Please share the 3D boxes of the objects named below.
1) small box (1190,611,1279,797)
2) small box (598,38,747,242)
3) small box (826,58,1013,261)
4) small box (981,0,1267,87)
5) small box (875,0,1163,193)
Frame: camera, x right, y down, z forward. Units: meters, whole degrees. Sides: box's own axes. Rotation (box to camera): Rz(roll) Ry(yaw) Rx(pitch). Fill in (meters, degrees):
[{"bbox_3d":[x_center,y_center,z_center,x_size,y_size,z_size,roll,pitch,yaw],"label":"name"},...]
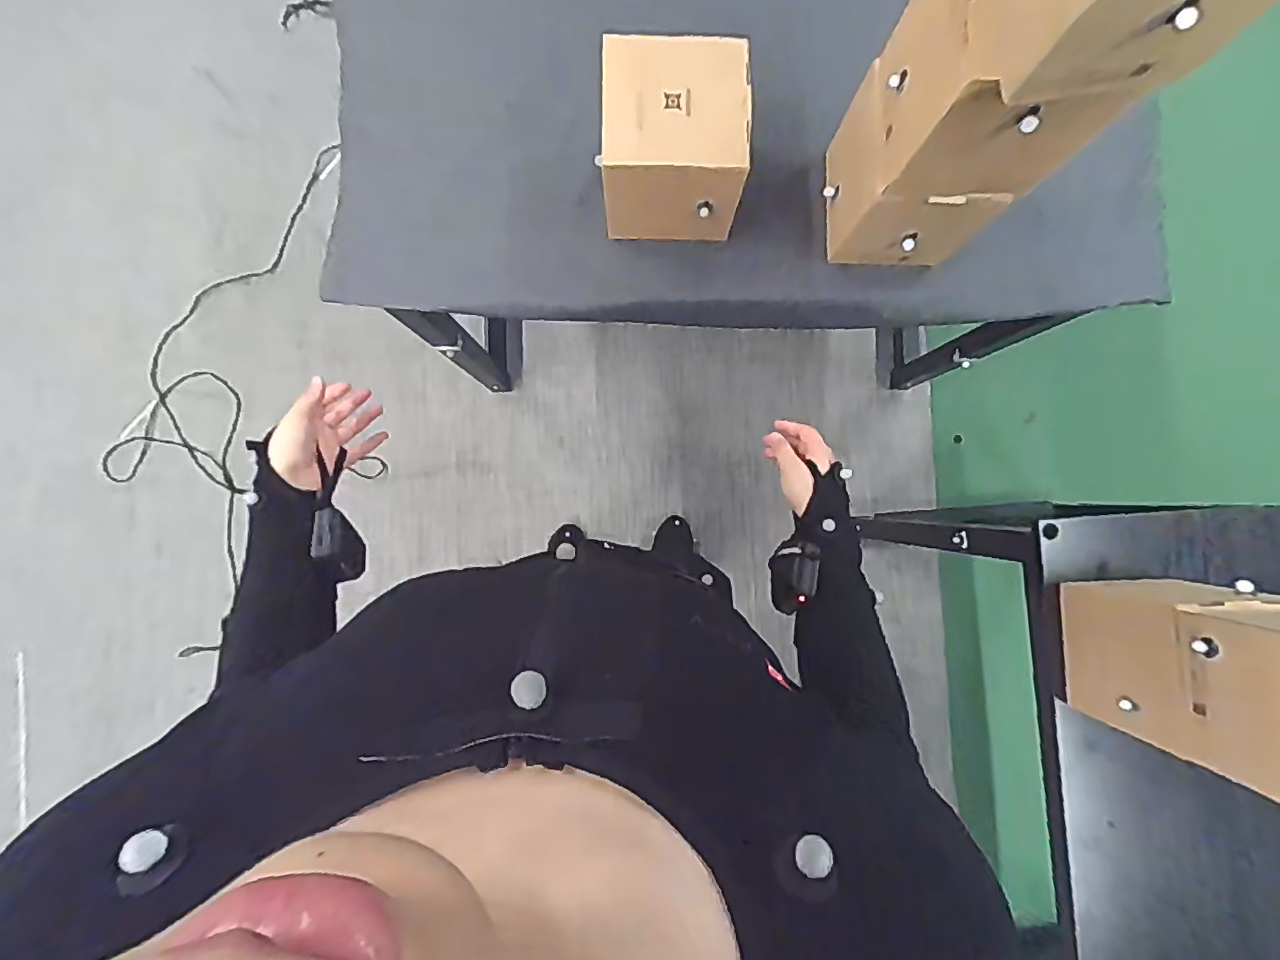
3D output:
[{"bbox_3d":[0.690,0.226,0.520,0.179,0.176,0.168,0,89,-1],"label":"small box"},{"bbox_3d":[0.038,-0.433,0.713,0.179,0.176,0.168,0,85,1],"label":"small box"},{"bbox_3d":[0.353,-0.405,0.710,0.168,0.176,0.179,0,87,0],"label":"small box"},{"bbox_3d":[0.370,-0.419,0.382,0.168,0.176,0.179,-10,86,-1],"label":"small box"},{"bbox_3d":[0.362,-0.416,0.548,0.179,0.176,0.168,-1,86,1],"label":"small box"}]
